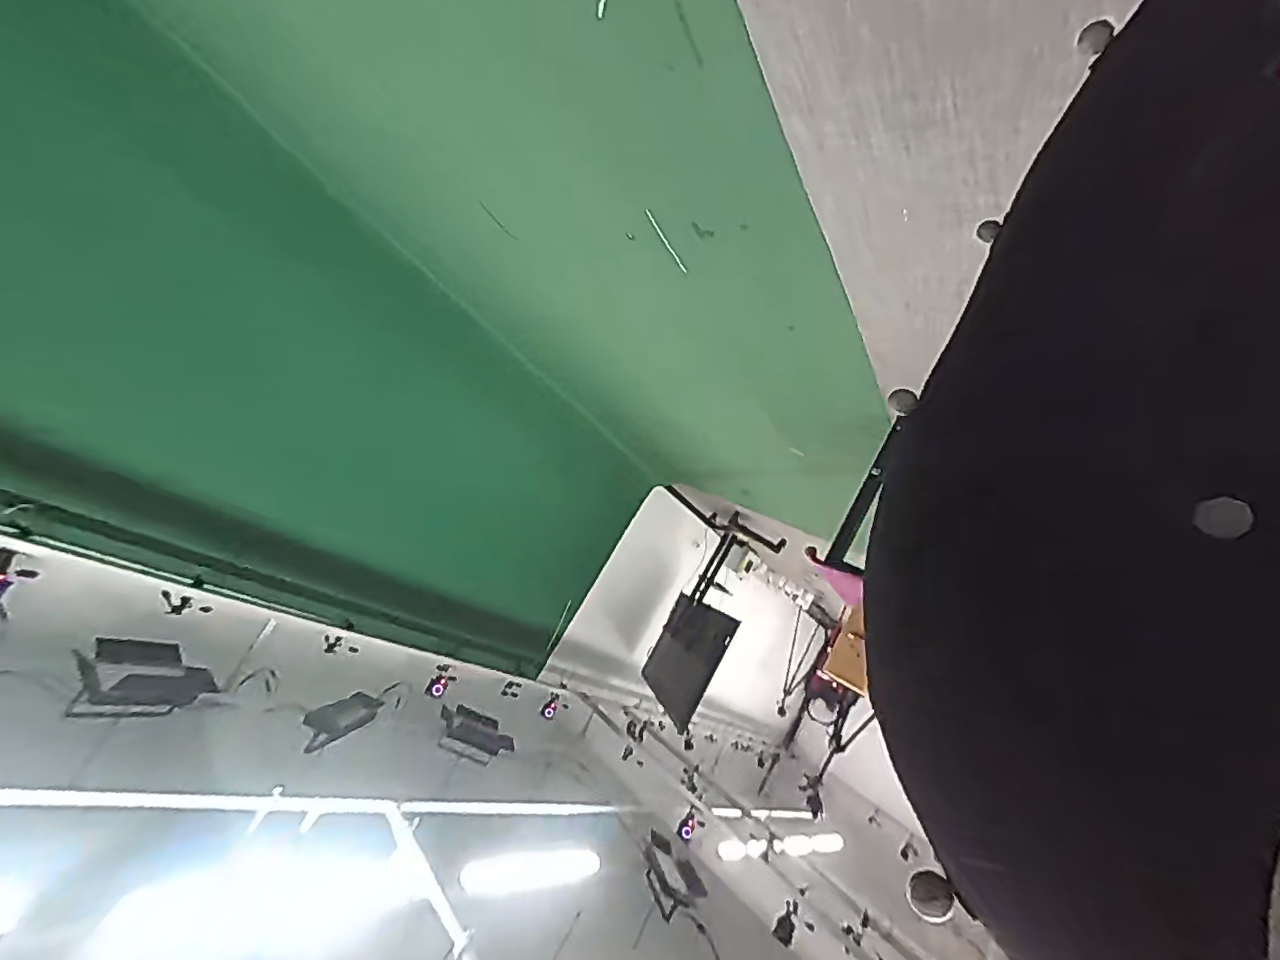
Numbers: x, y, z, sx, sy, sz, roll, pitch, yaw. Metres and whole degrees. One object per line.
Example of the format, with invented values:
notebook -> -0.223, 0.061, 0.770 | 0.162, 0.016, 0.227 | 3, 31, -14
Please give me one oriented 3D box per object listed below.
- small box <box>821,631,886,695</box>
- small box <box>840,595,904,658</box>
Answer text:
small box -> 0.858, 0.728, 2.158 | 0.168, 0.176, 0.179 | 22, 167, 43
small box -> 0.939, 0.588, 2.179 | 0.168, 0.176, 0.179 | 21, 167, 43
